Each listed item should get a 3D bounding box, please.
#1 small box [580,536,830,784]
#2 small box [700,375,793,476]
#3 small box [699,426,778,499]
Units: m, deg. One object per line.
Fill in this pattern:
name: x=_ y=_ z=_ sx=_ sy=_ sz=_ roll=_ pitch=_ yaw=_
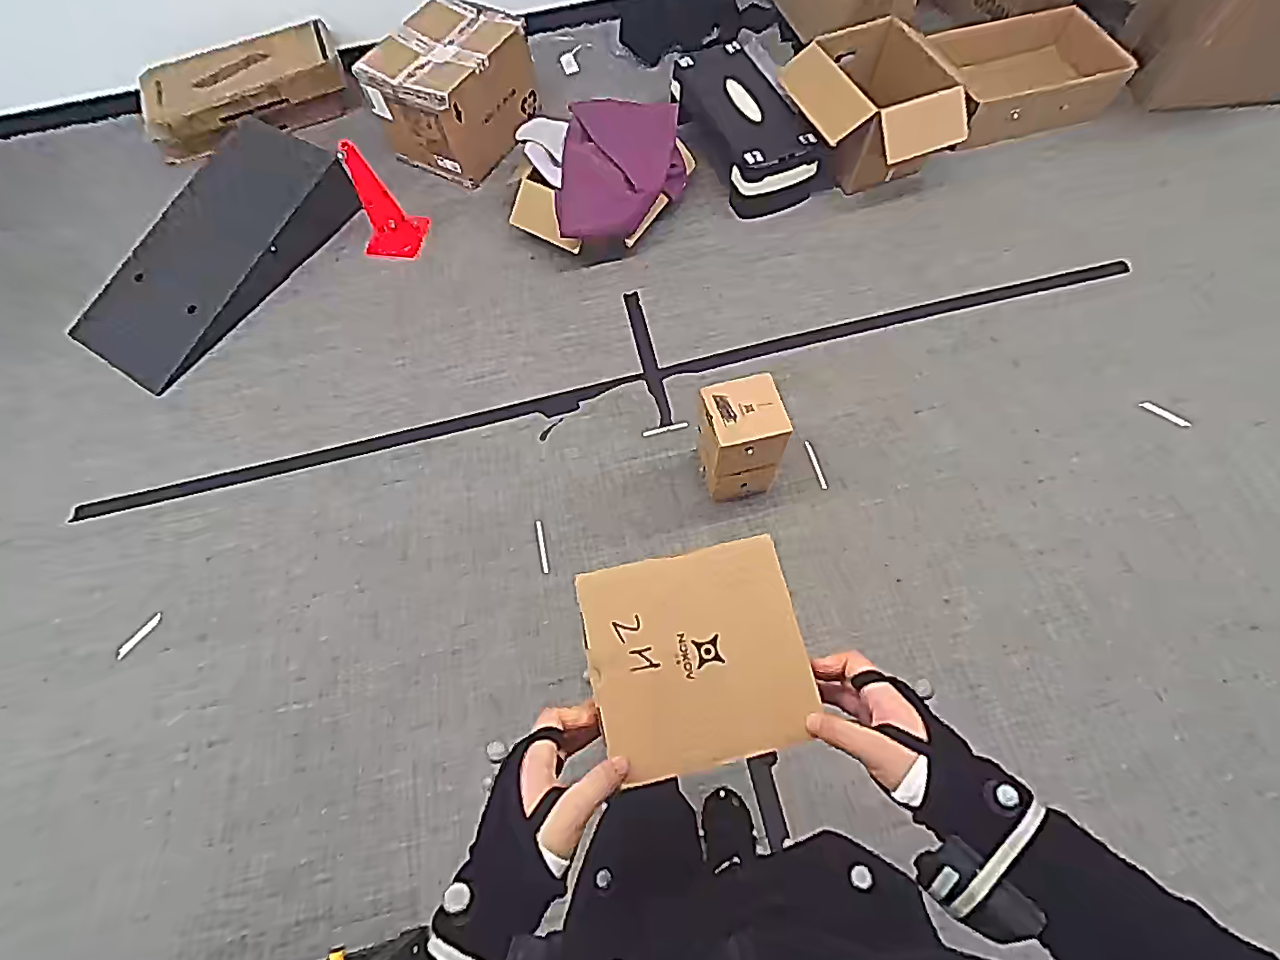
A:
small box: x=0.047 y=0.163 z=0.512 sx=0.179 sy=0.176 sz=0.168 roll=-11 pitch=71 yaw=-5
small box: x=0.248 y=-0.125 z=1.315 sx=0.179 sy=0.176 sz=0.168 roll=-13 pitch=67 yaw=-4
small box: x=0.260 y=-0.060 z=1.467 sx=0.168 sy=0.176 sz=0.179 roll=-12 pitch=68 yaw=-2
